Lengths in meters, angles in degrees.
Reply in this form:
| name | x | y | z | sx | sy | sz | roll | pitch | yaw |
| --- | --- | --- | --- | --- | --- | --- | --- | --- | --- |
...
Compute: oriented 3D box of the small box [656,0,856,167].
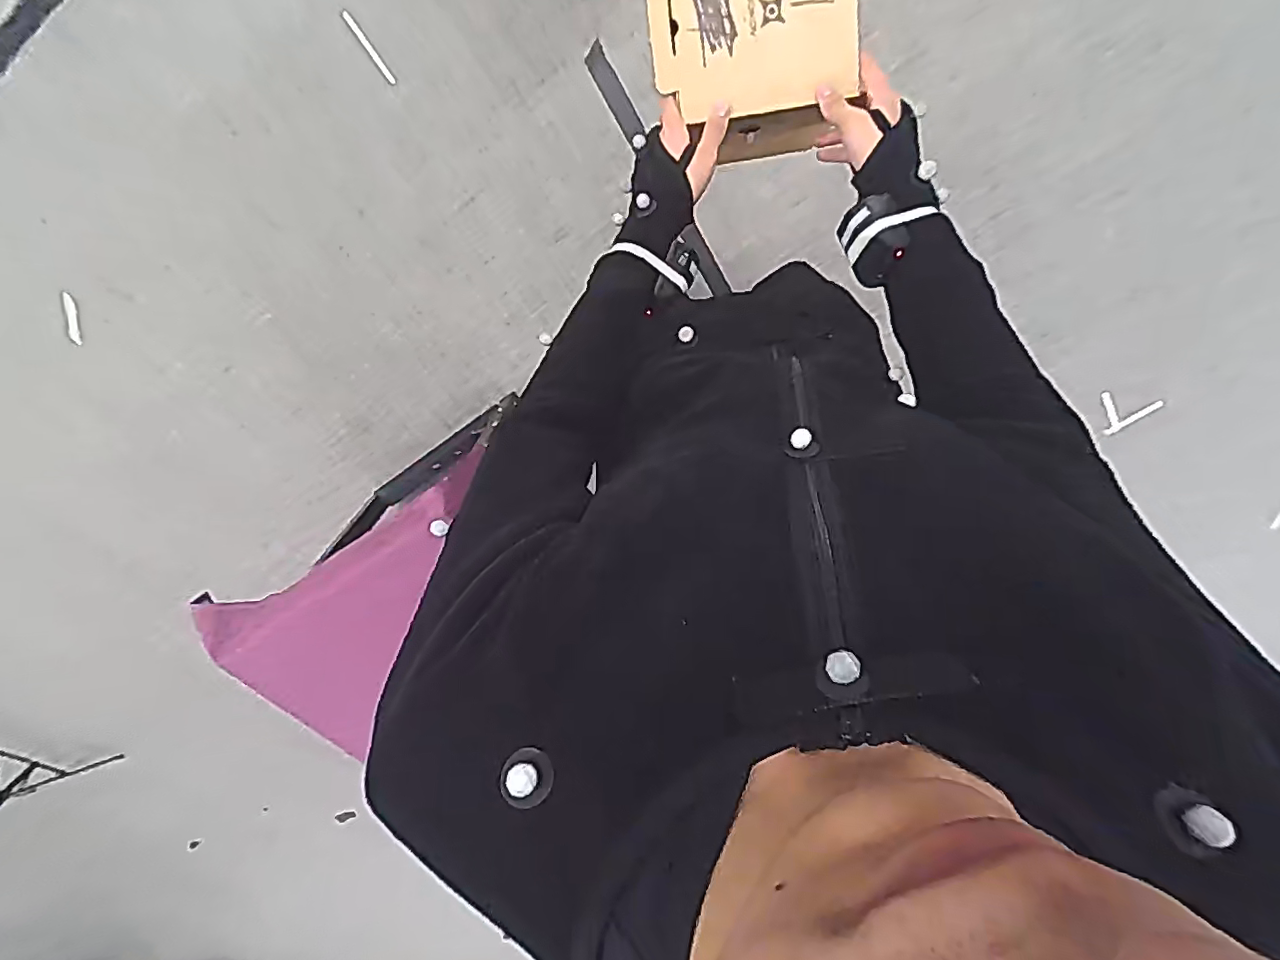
| name | x | y | z | sx | sy | sz | roll | pitch | yaw |
| --- | --- | --- | --- | --- | --- | --- | --- | --- | --- |
| small box | 0.111 | -0.455 | 0.576 | 0.179 | 0.176 | 0.168 | -8 | 106 | 2 |
